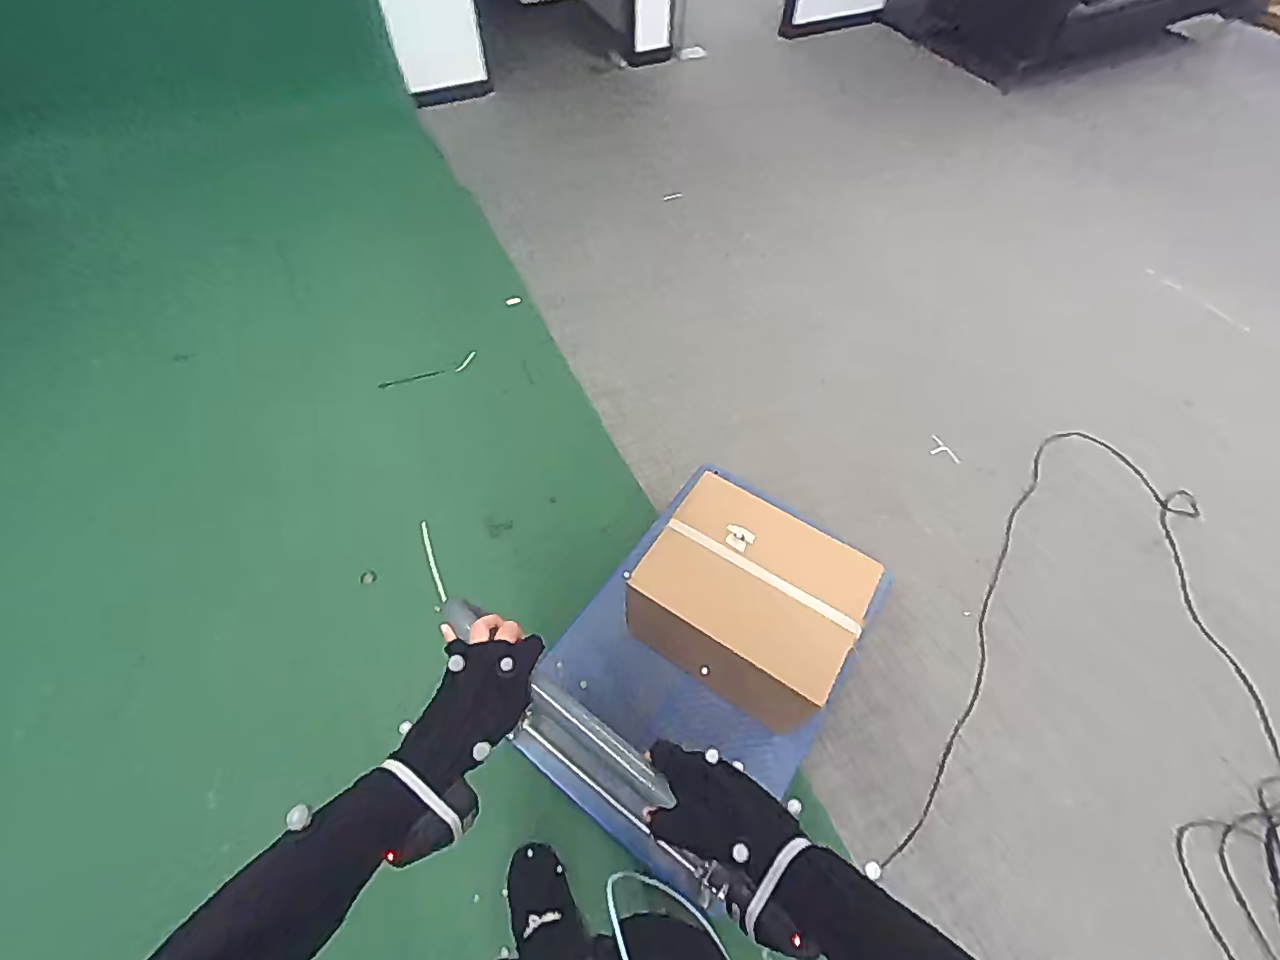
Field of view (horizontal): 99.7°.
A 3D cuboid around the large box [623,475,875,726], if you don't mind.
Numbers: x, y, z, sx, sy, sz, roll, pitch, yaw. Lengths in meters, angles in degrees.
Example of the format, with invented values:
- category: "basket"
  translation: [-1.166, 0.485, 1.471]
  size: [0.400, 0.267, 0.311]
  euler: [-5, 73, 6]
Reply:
- category: "large box"
  translation: [0.215, 0.264, 1.168]
  size: [0.408, 0.320, 0.320]
  euler: [29, 60, 17]
